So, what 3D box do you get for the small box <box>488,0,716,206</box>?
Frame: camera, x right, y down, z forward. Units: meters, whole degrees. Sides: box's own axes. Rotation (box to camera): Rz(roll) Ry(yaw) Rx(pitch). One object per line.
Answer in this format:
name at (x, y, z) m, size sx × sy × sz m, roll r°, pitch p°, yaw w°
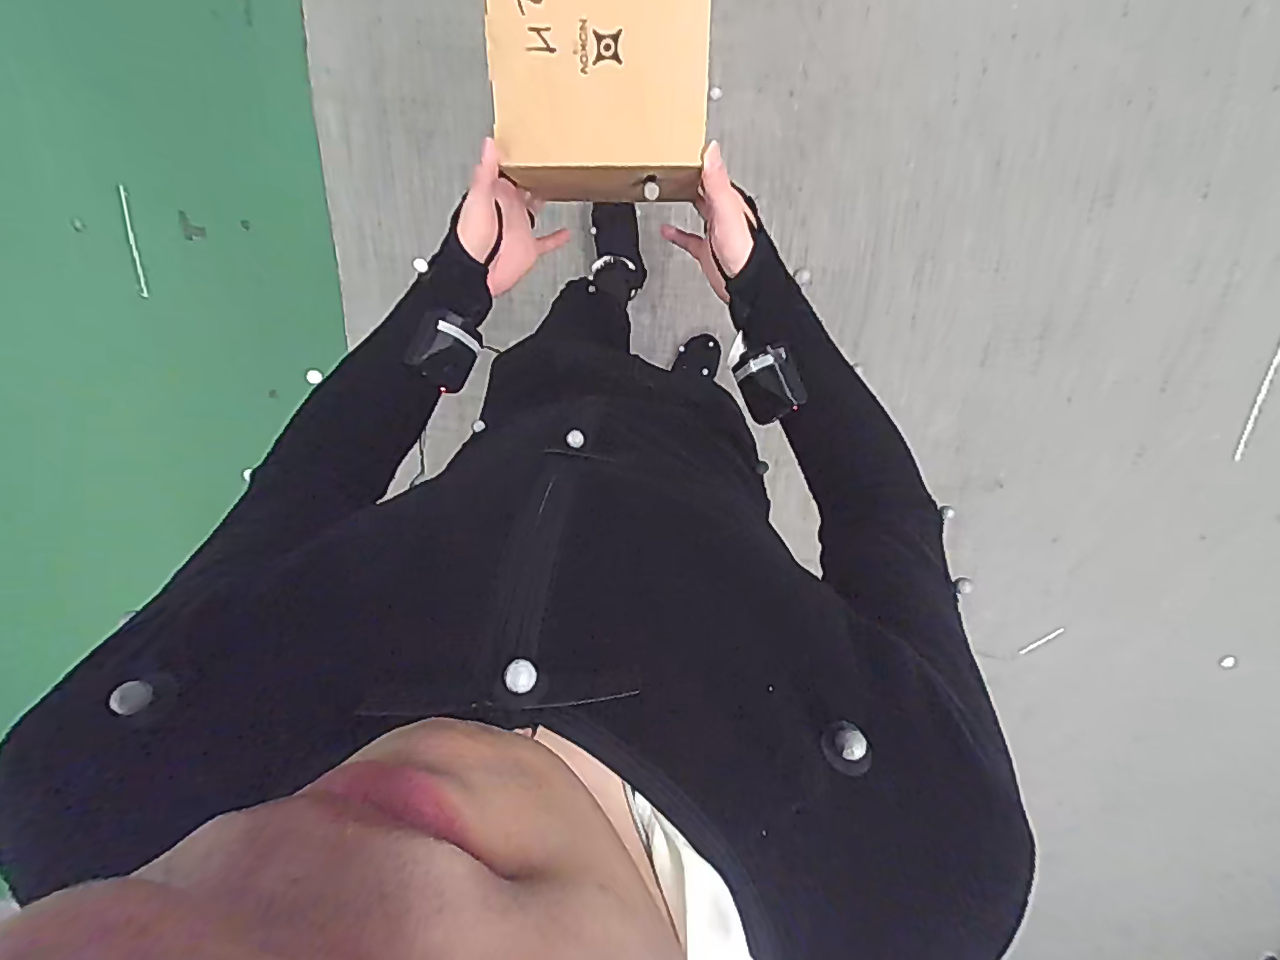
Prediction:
small box at (-0.027, -0.357, 0.496) m, size 0.179 × 0.176 × 0.168 m, roll 2°, pitch 108°, yaw 3°
